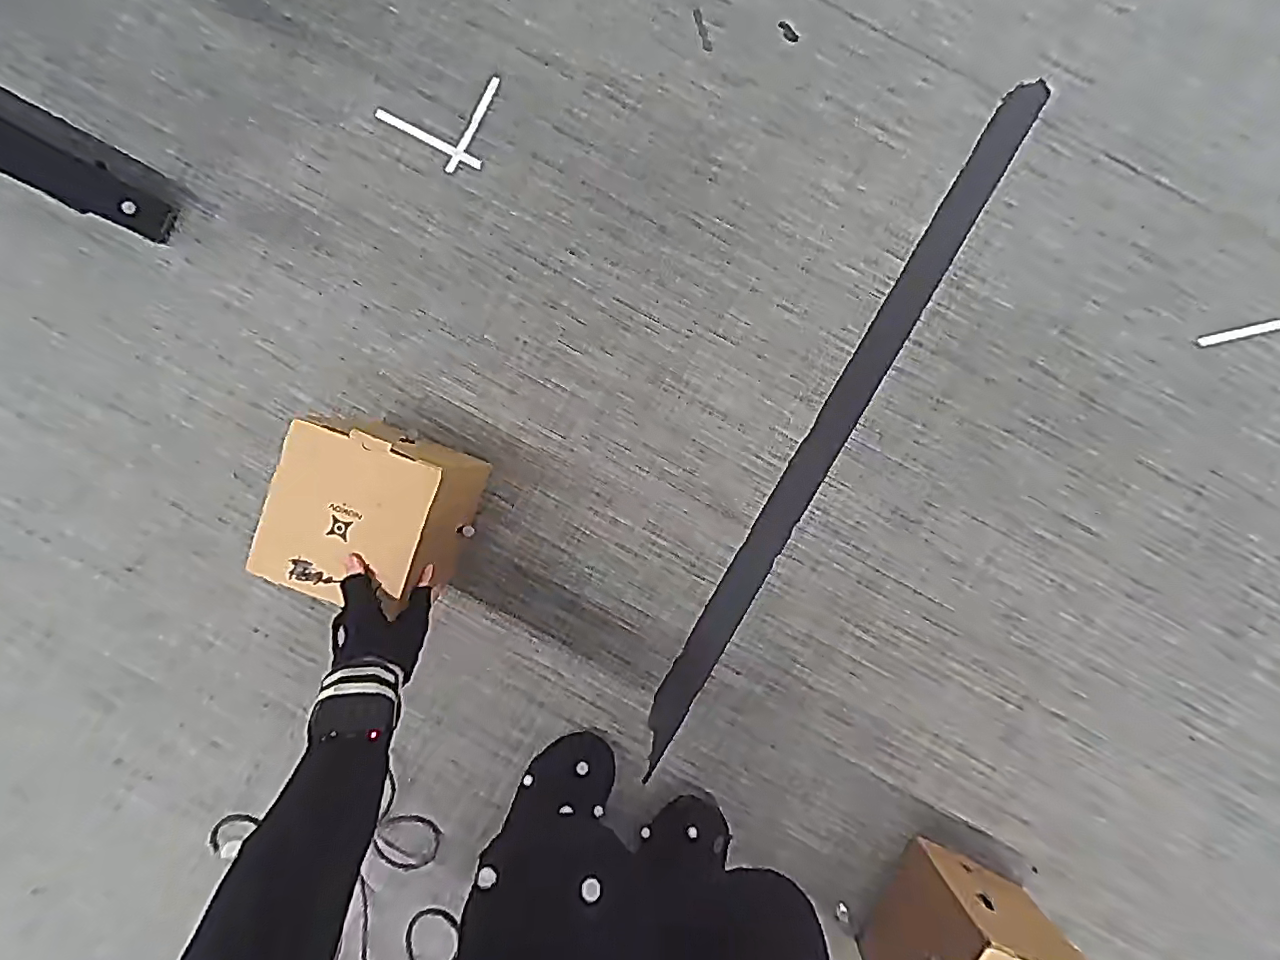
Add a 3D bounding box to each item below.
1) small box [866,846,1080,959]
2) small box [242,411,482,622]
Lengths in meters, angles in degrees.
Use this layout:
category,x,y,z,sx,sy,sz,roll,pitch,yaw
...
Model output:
category,x,y,z,sx,sy,sz,roll,pitch,yaw
small box,0.398,0.586,0.636,0.168,0.176,0.179,26,93,2
small box,-0.302,0.035,0.631,0.168,0.176,0.179,21,93,0
